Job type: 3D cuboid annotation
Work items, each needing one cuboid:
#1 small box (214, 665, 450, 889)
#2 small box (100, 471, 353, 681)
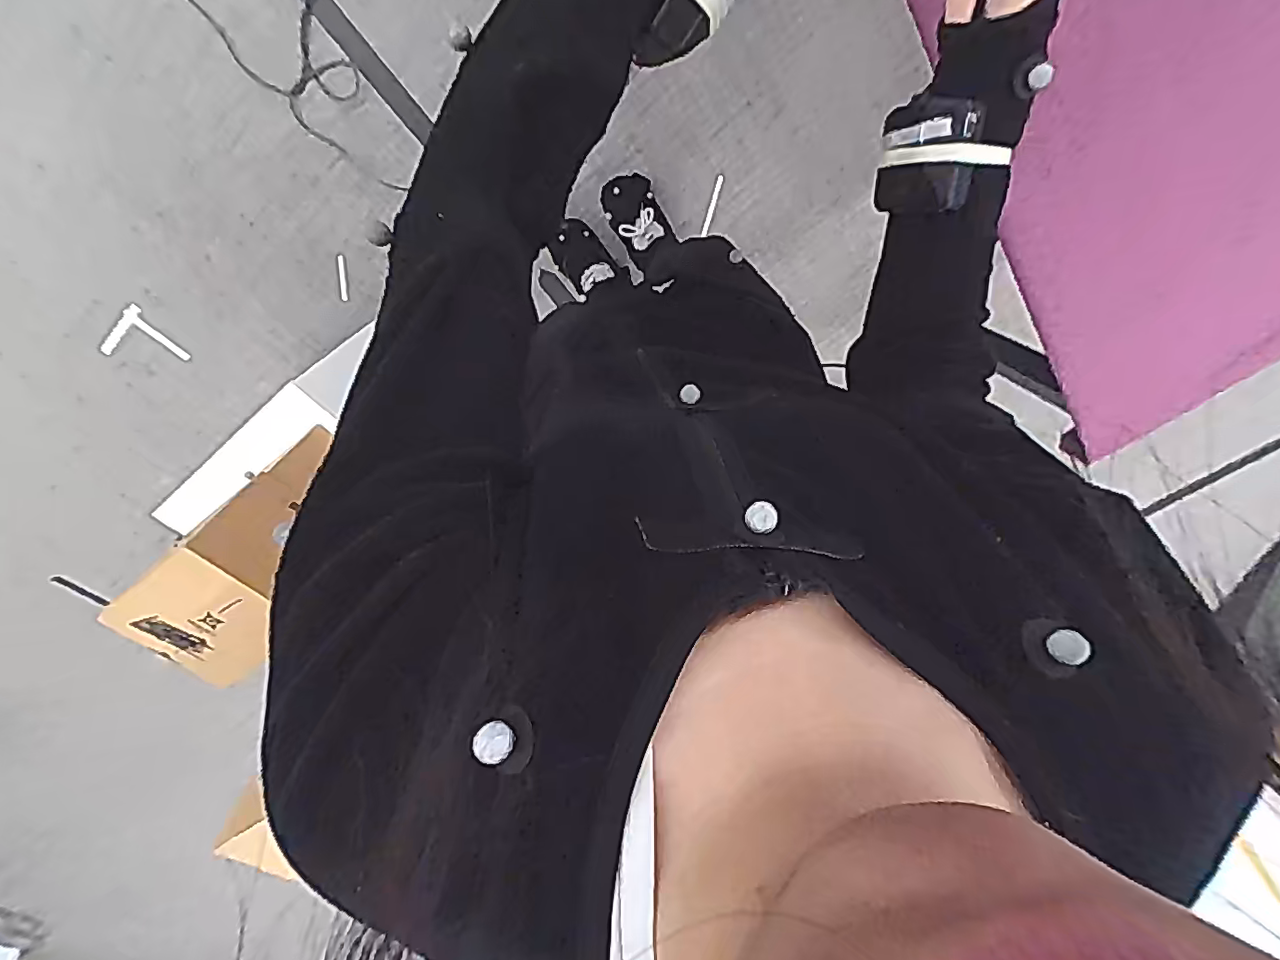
[{"bbox_3d":[-0.372,0.374,0.690,0.179,0.176,0.168,-36,118,17],"label":"small box"},{"bbox_3d":[-0.521,0.122,0.712,0.179,0.176,0.168,-33,119,15],"label":"small box"}]
